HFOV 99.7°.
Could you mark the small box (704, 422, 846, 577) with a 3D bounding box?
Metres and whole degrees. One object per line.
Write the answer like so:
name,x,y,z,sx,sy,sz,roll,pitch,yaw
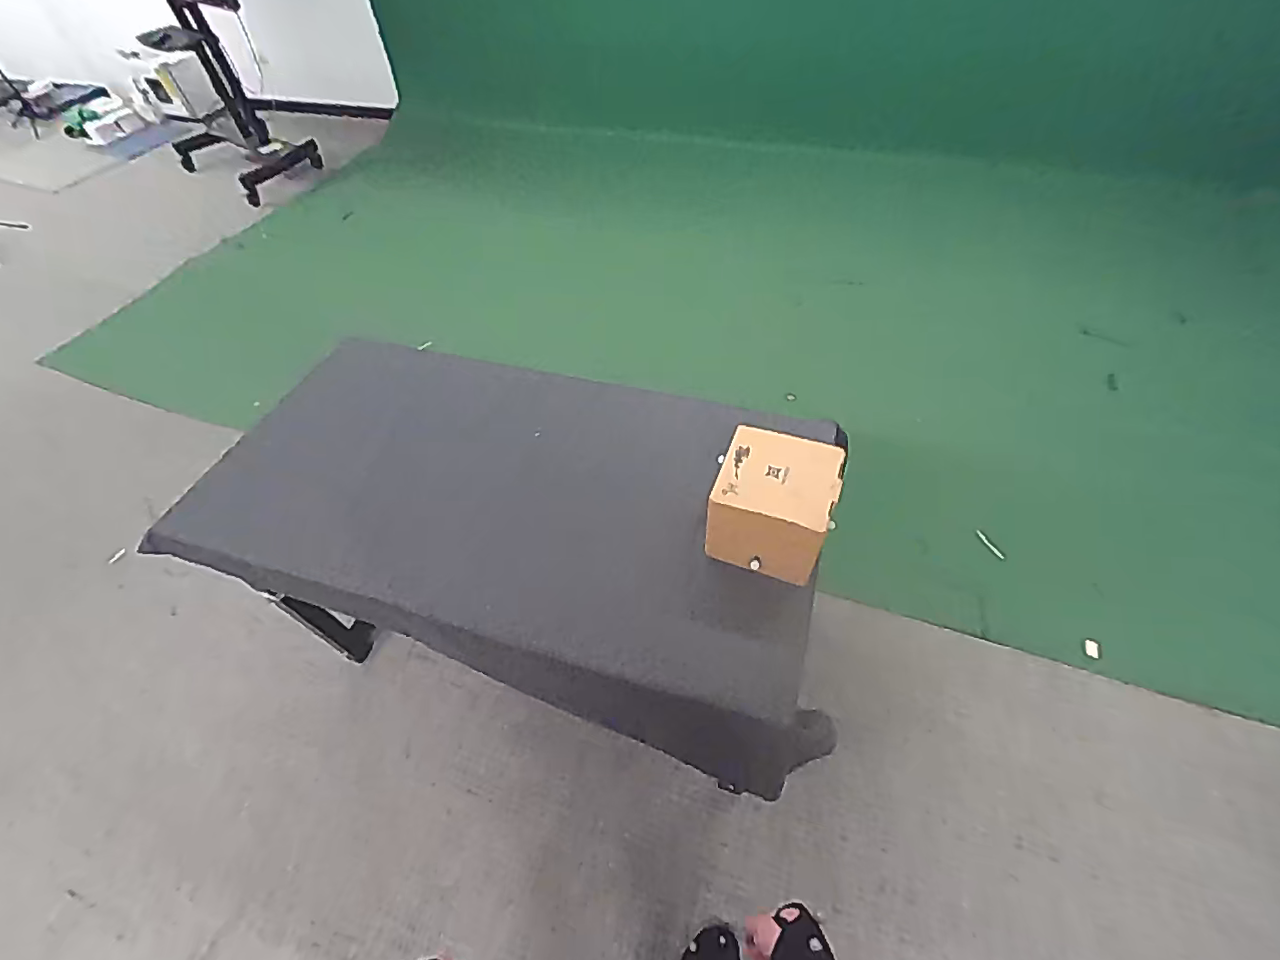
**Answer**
small box,0.215,0.037,0.887,0.179,0.176,0.168,17,56,15
